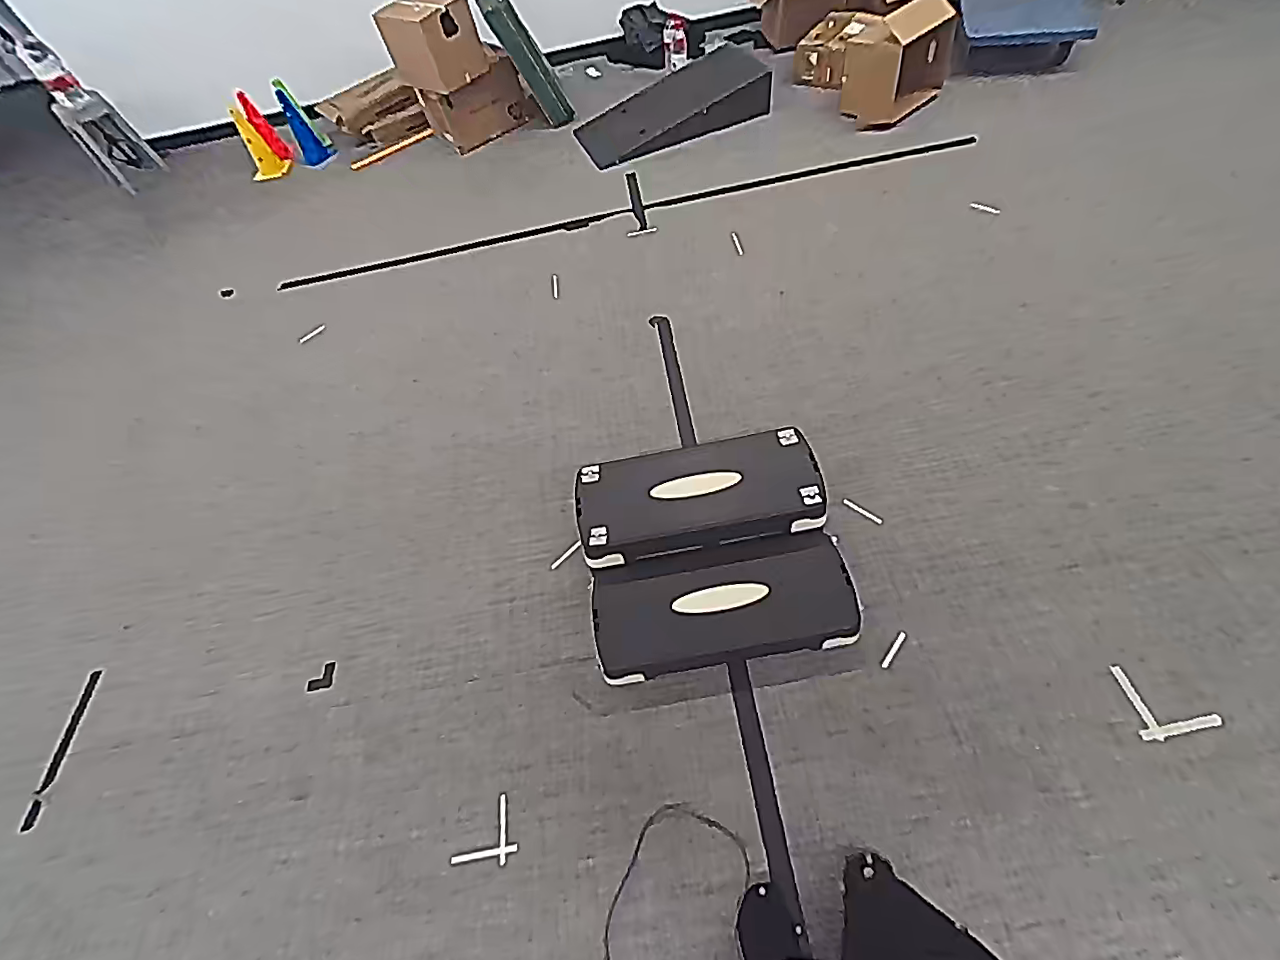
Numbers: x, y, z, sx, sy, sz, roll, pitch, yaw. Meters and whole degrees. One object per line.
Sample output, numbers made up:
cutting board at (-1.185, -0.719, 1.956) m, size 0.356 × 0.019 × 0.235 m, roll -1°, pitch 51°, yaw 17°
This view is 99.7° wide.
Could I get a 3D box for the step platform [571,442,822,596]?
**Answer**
step platform at (0.148, 0.105, 1.523) m, size 0.684 × 0.204 × 0.286 m, roll -11°, pitch 56°, yaw 1°
